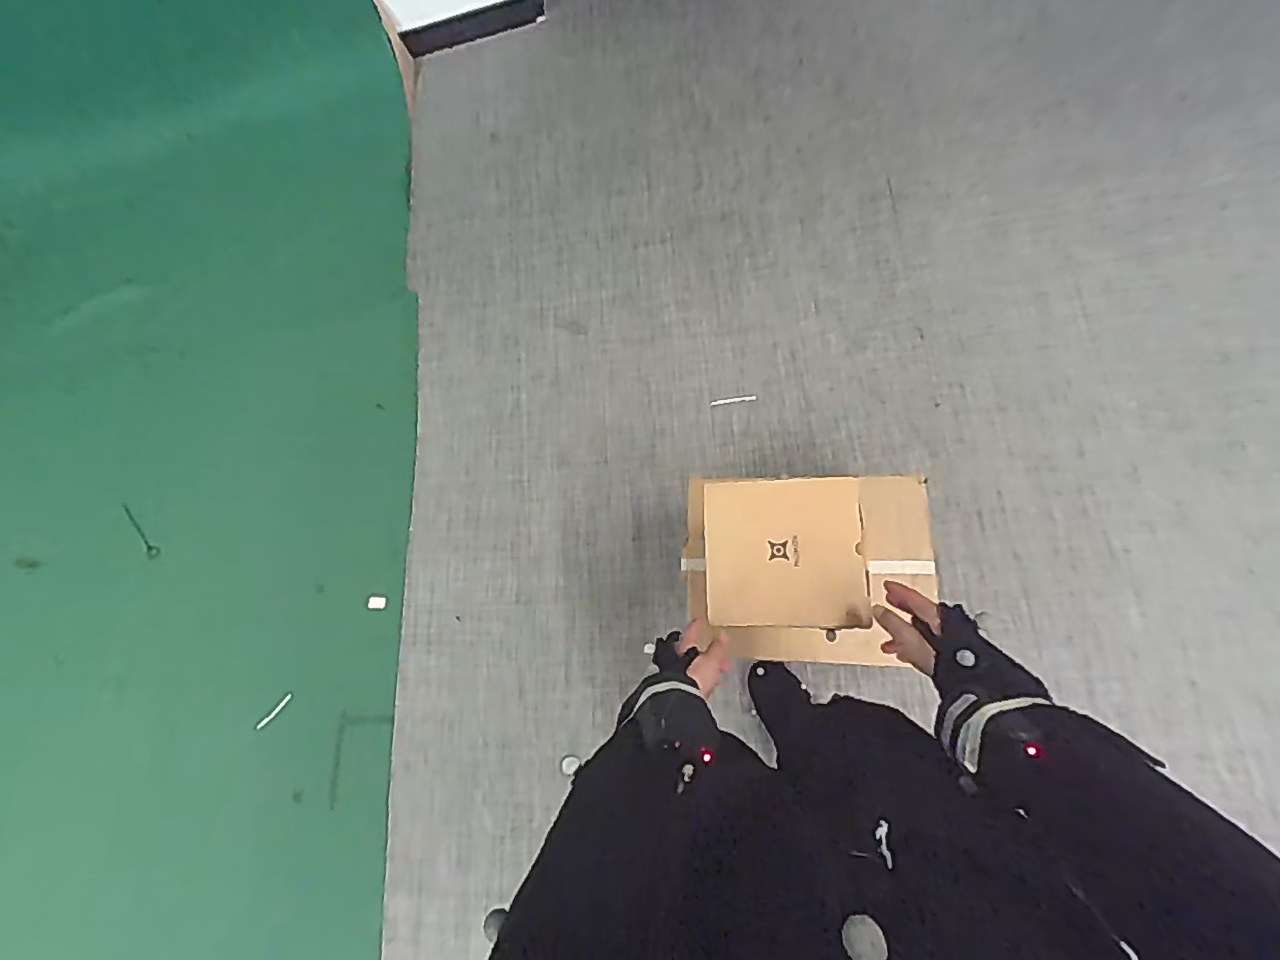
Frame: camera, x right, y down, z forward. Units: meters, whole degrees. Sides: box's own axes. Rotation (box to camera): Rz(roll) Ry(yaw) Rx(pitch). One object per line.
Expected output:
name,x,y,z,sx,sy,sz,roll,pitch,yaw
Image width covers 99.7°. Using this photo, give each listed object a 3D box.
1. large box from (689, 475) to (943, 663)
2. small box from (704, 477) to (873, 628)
large box,0.309,0.181,1.057,0.408,0.320,0.320,-1,76,10
small box,0.176,0.099,0.677,0.179,0.176,0.168,-3,75,10
